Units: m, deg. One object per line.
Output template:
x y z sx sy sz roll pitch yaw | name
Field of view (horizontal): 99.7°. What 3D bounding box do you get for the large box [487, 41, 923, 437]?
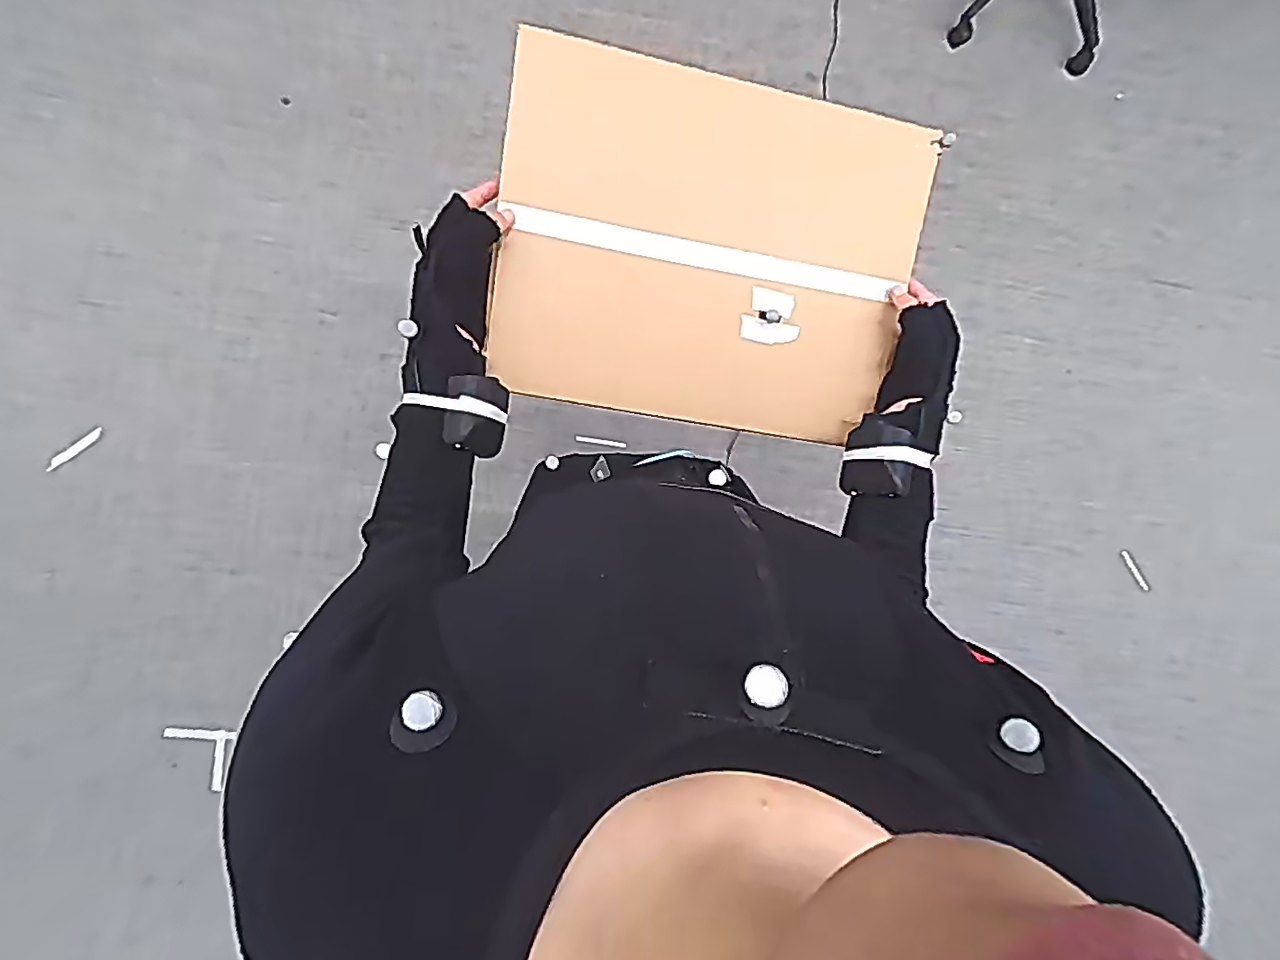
0.047 -0.246 0.678 0.408 0.320 0.320 9 100 -9 | large box
